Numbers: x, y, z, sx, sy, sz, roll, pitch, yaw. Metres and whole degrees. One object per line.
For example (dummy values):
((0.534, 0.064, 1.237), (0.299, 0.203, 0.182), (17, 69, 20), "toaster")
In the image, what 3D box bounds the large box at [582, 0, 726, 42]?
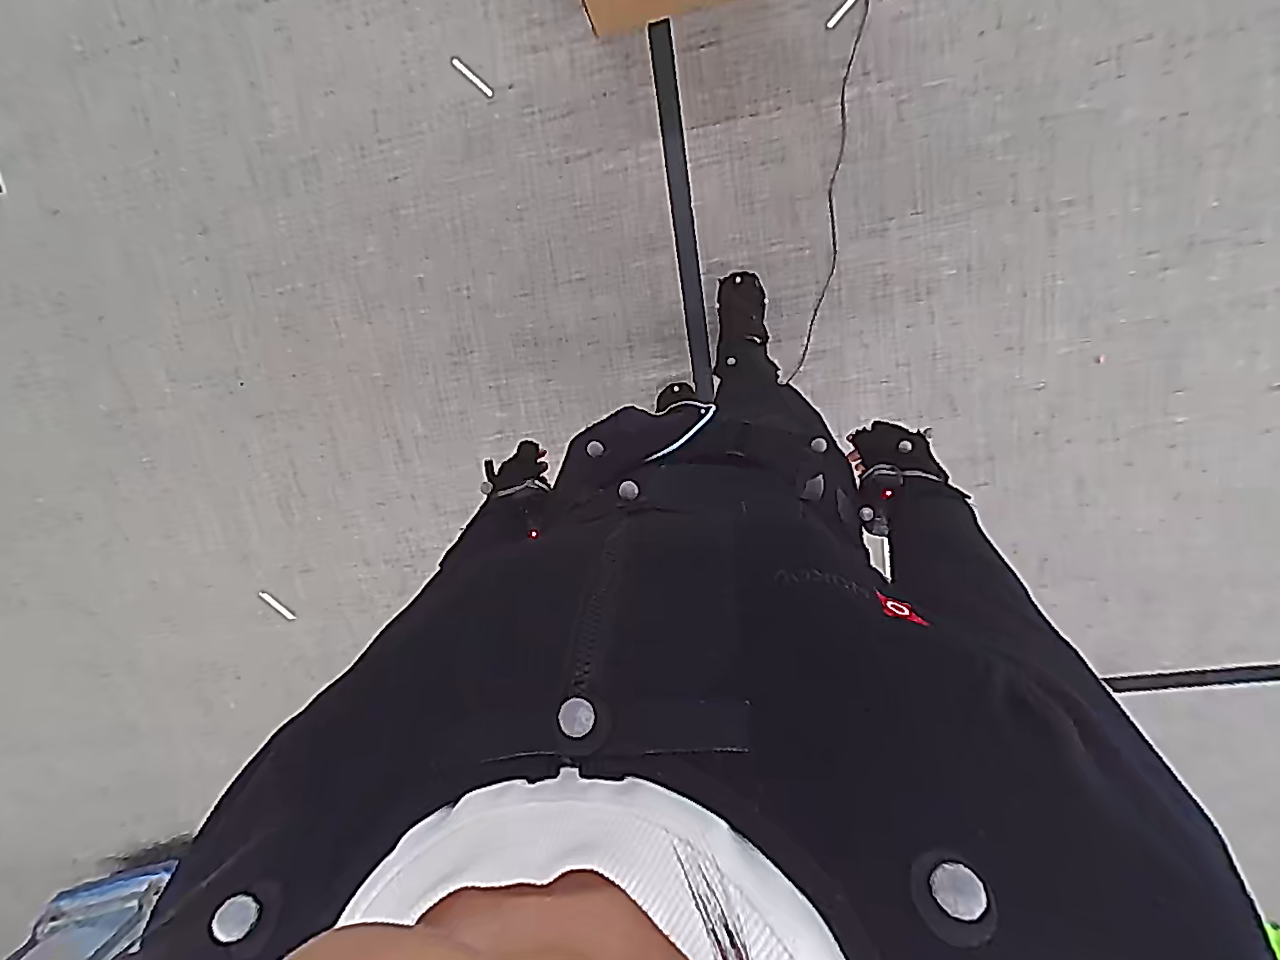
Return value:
((0.047, -1.138, 1.023), (0.408, 0.320, 0.320), (-10, 101, 11), "large box")
